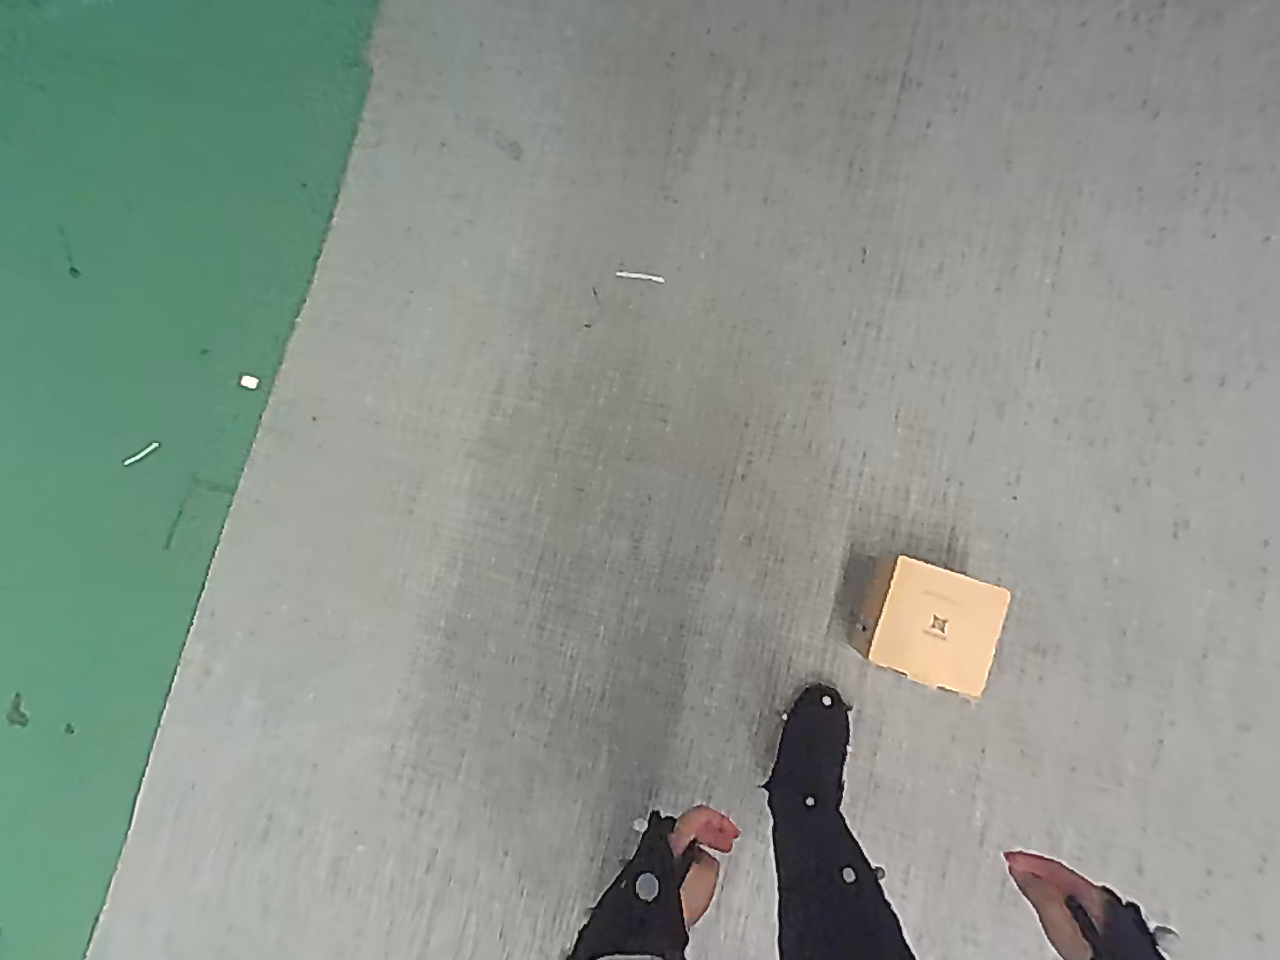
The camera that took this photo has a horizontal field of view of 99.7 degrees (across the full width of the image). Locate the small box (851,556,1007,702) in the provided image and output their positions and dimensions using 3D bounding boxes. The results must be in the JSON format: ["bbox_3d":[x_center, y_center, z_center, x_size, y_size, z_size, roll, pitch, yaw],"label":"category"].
[{"bbox_3d":[0.464,0.236,0.899,0.168,0.176,0.179,18,85,13],"label":"small box"}]
